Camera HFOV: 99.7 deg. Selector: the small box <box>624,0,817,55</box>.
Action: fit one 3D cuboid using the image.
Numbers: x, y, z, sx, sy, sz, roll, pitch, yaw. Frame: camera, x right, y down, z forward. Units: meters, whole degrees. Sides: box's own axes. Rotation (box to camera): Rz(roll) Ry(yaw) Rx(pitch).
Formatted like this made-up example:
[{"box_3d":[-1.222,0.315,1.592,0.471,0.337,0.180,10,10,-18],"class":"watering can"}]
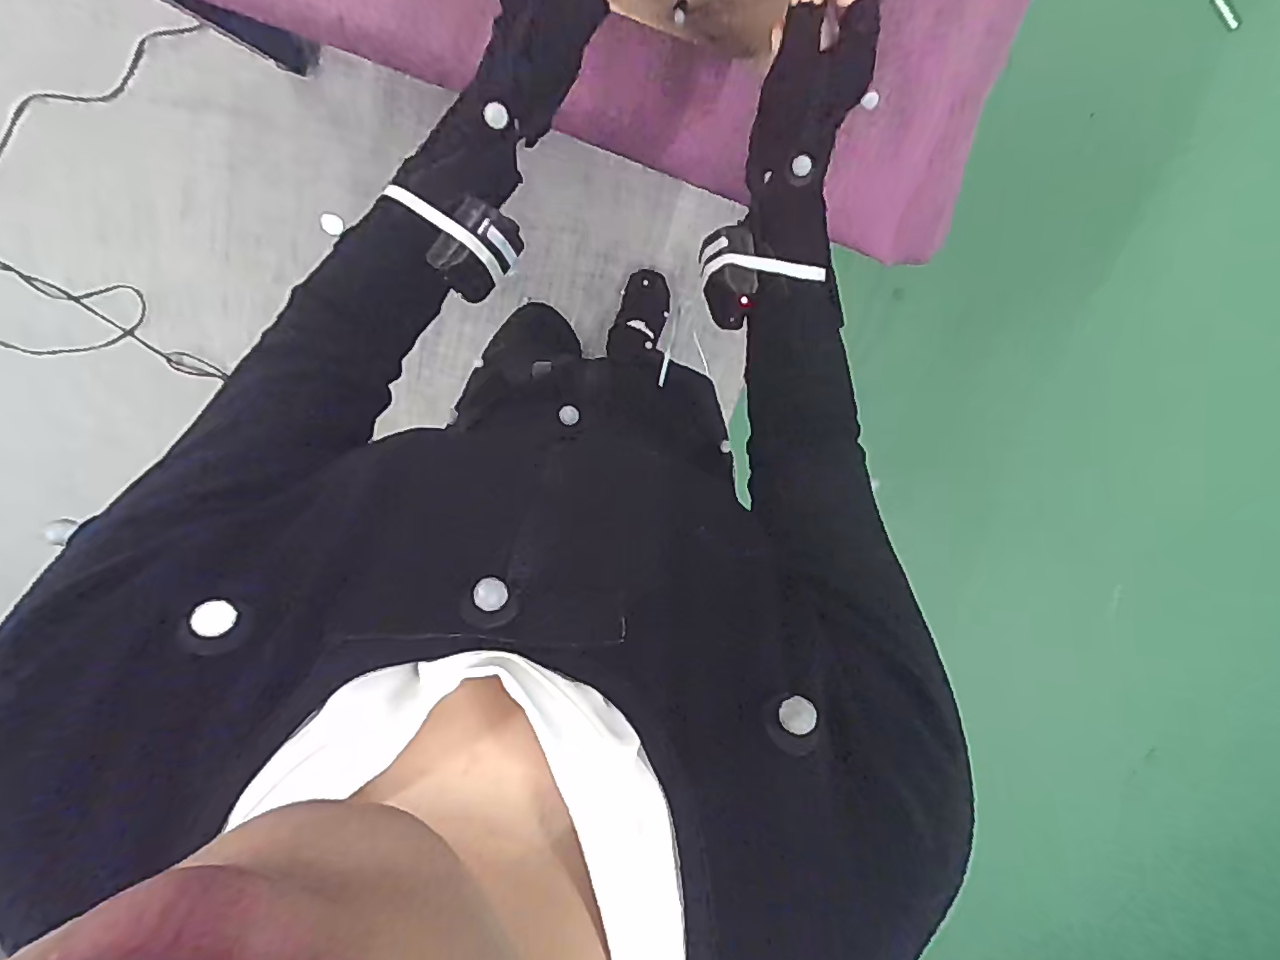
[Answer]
[{"box_3d":[0.077,-0.471,0.405,0.168,0.176,0.179,15,112,-8],"class":"small box"}]
